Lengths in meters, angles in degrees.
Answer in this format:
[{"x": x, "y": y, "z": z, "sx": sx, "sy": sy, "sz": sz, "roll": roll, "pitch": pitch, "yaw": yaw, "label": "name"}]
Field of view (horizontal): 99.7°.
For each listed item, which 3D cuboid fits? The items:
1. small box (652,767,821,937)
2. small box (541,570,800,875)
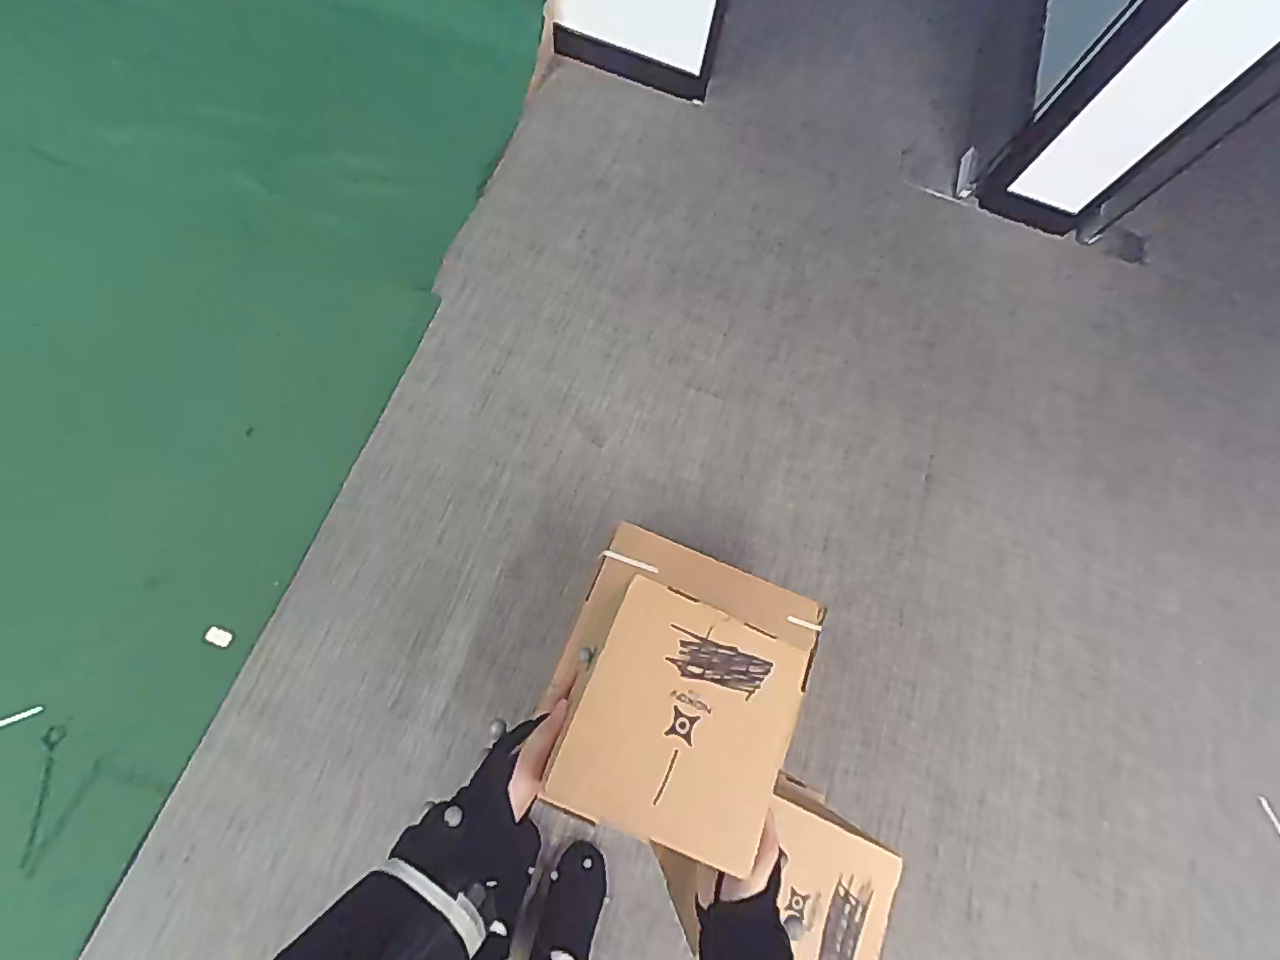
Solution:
[{"x": 0.127, "y": 0.487, "z": 0.775, "sx": 0.168, "sy": 0.176, "sz": 0.179, "roll": 25, "pitch": 70, "yaw": 0, "label": "small box"}, {"x": 0.016, "y": 0.208, "z": 0.495, "sx": 0.168, "sy": 0.176, "sz": 0.179, "roll": 25, "pitch": 66, "yaw": -2, "label": "small box"}]
